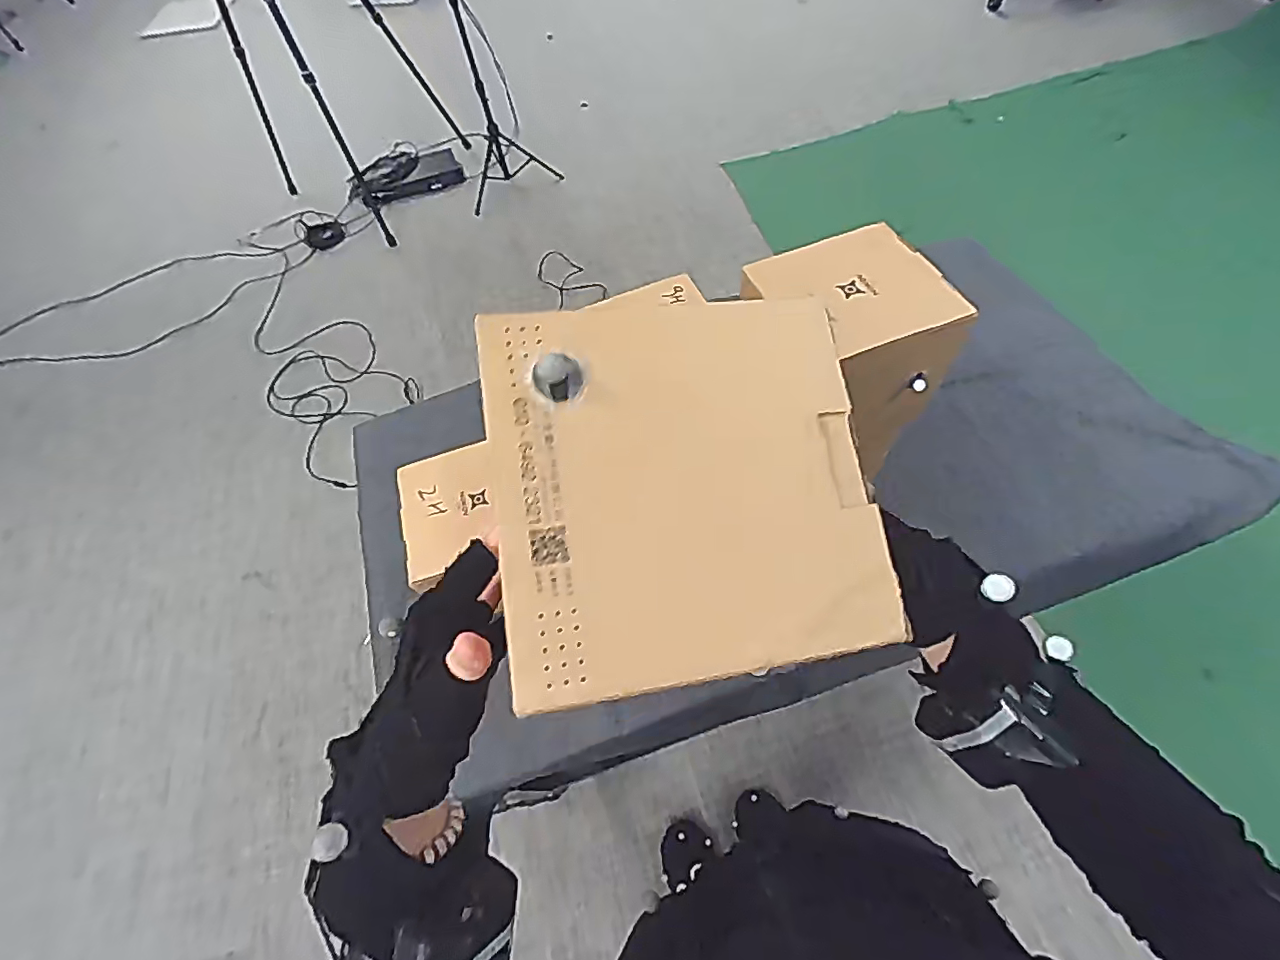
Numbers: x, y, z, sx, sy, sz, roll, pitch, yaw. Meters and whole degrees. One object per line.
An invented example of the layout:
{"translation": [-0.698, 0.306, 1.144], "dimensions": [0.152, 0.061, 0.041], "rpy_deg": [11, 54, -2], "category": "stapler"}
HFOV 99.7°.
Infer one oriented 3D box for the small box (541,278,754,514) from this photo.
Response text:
{"translation": [0.012, -0.086, 0.613], "dimensions": [0.179, 0.176, 0.168], "rpy_deg": [-23, 61, -6], "category": "small box"}
